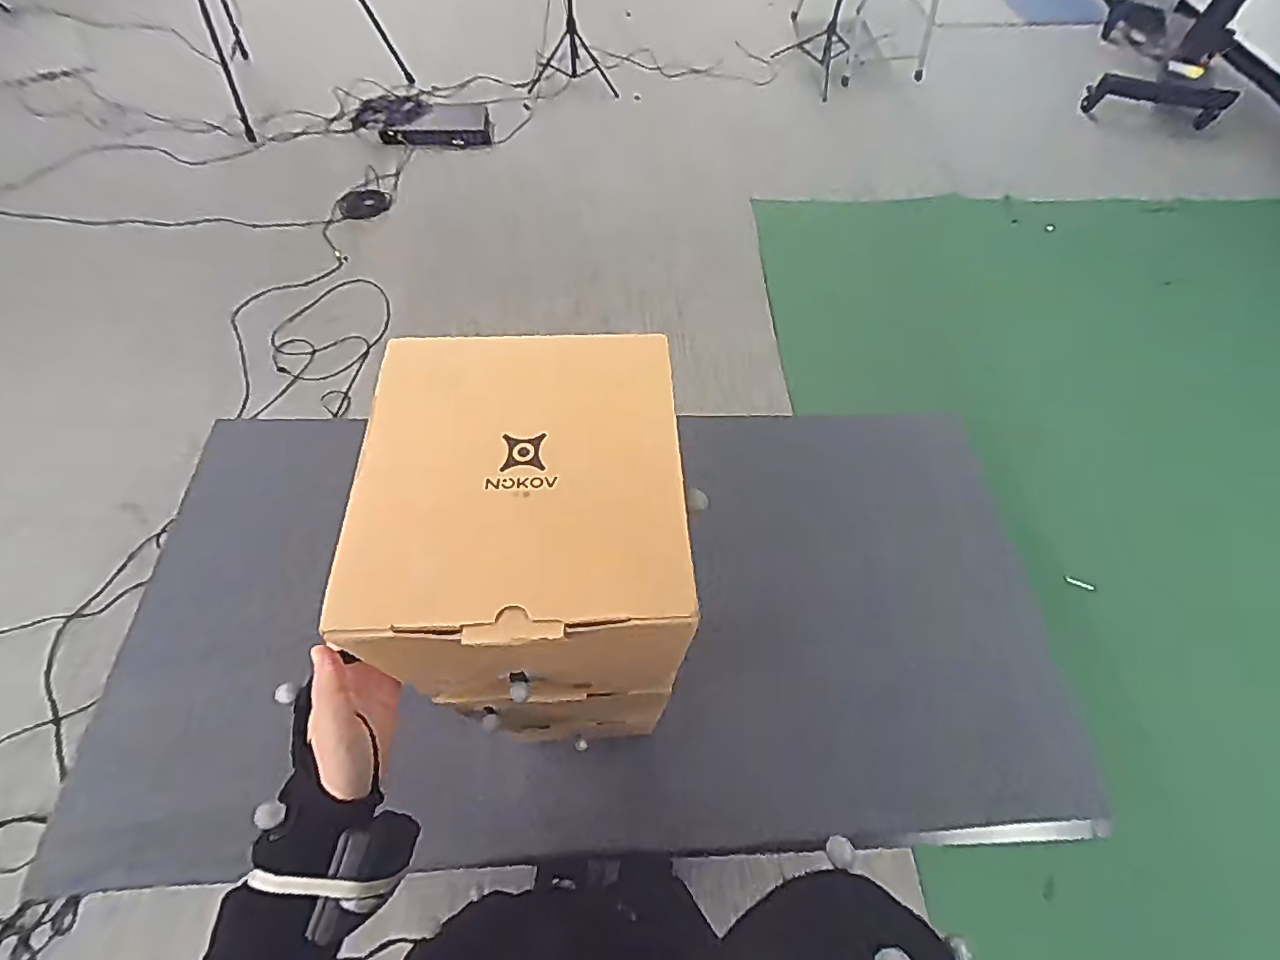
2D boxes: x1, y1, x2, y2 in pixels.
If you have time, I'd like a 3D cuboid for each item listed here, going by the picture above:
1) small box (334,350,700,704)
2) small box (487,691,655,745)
[{"bbox_3d":[-0.062,0.037,0.352,0.168,0.176,0.179,-2,60,-4],"label":"small box"},{"bbox_3d":[-0.073,0.203,0.632,0.168,0.176,0.179,-2,61,-3],"label":"small box"}]
